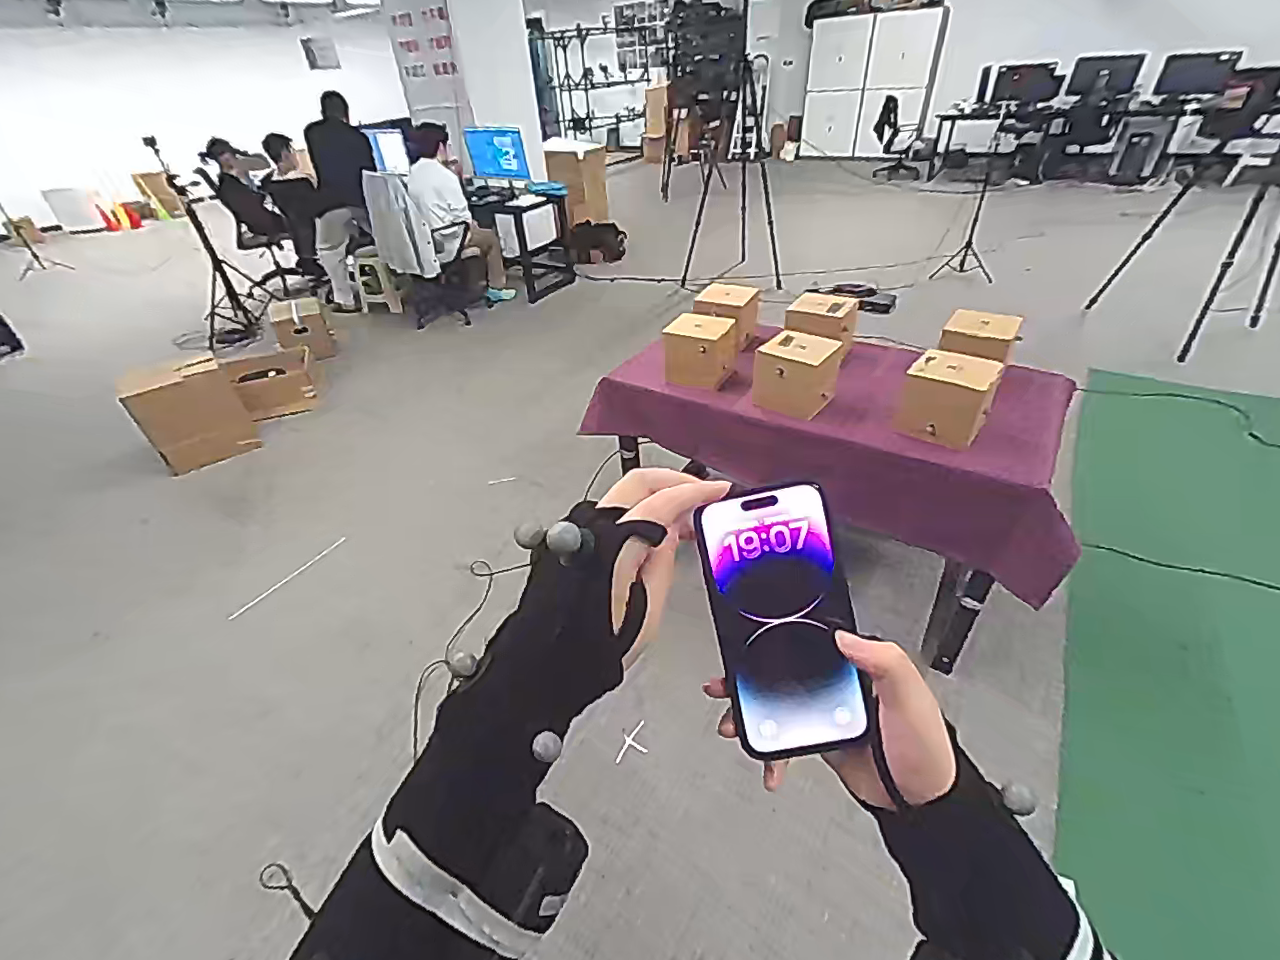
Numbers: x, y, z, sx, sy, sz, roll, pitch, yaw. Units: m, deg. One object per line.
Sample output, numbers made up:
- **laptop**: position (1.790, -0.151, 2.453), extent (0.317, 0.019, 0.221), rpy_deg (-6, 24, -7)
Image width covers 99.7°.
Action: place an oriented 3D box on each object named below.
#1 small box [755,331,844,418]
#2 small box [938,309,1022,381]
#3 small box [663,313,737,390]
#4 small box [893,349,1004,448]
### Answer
- **small box**: position (0.435, -0.292, 1.496), extent (0.179, 0.176, 0.168), rpy_deg (25, 47, 32)
- **small box**: position (0.948, -0.364, 1.534), extent (0.168, 0.176, 0.179), rpy_deg (22, 46, 31)
- **small box**: position (0.184, -0.392, 1.655), extent (0.179, 0.176, 0.168), rpy_deg (16, 42, 23)
- **small box**: position (0.760, -0.200, 1.343), extent (0.179, 0.176, 0.168), rpy_deg (26, 46, 33)
